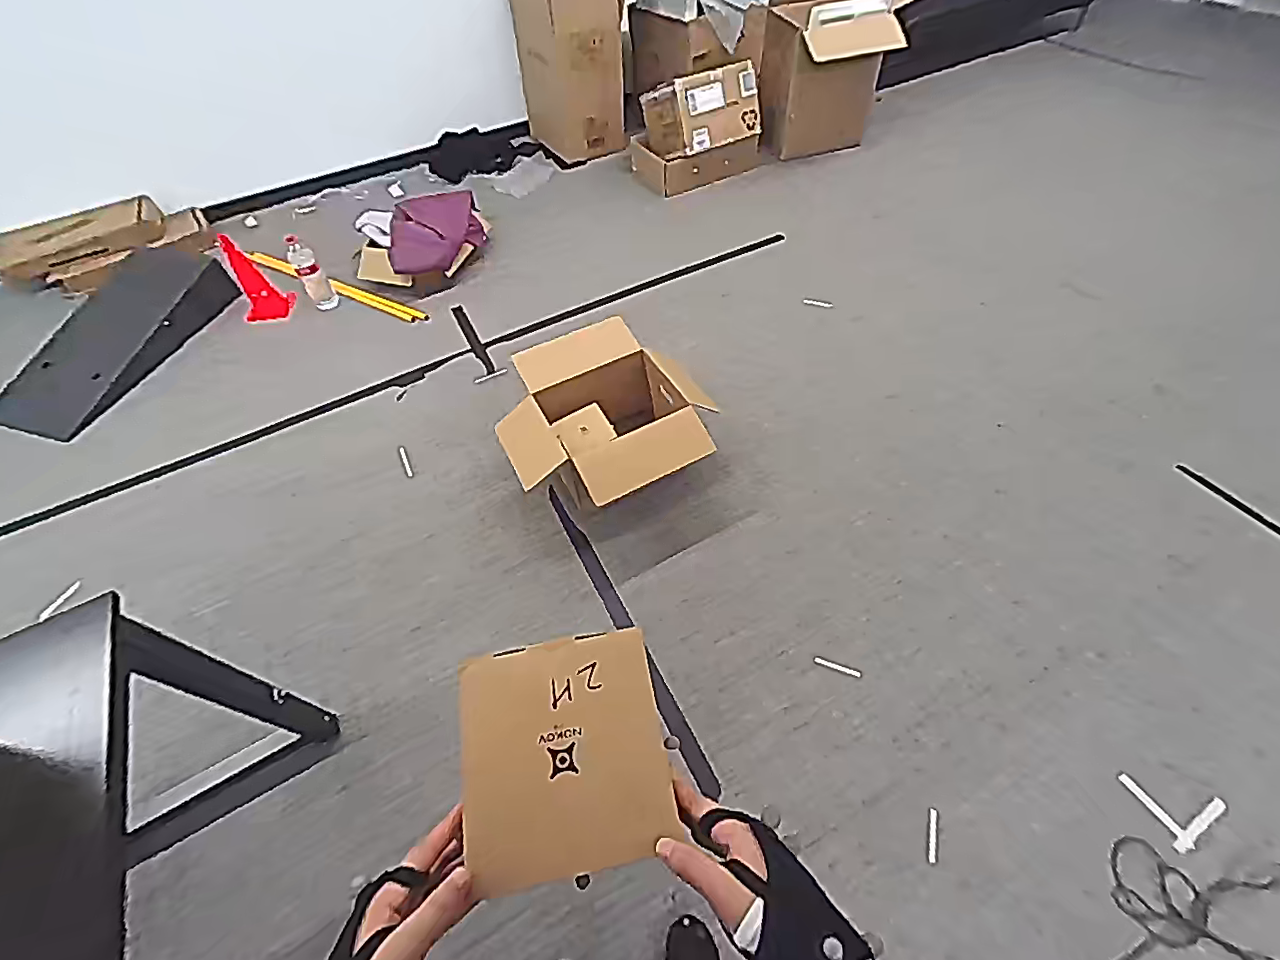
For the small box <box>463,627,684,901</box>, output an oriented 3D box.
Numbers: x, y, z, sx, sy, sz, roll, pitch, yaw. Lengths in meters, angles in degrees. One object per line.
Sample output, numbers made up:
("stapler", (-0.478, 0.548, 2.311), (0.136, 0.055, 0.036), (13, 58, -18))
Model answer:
("small box", (-0.059, 0.259, 0.510), (0.168, 0.176, 0.179), (-10, 59, -6))
